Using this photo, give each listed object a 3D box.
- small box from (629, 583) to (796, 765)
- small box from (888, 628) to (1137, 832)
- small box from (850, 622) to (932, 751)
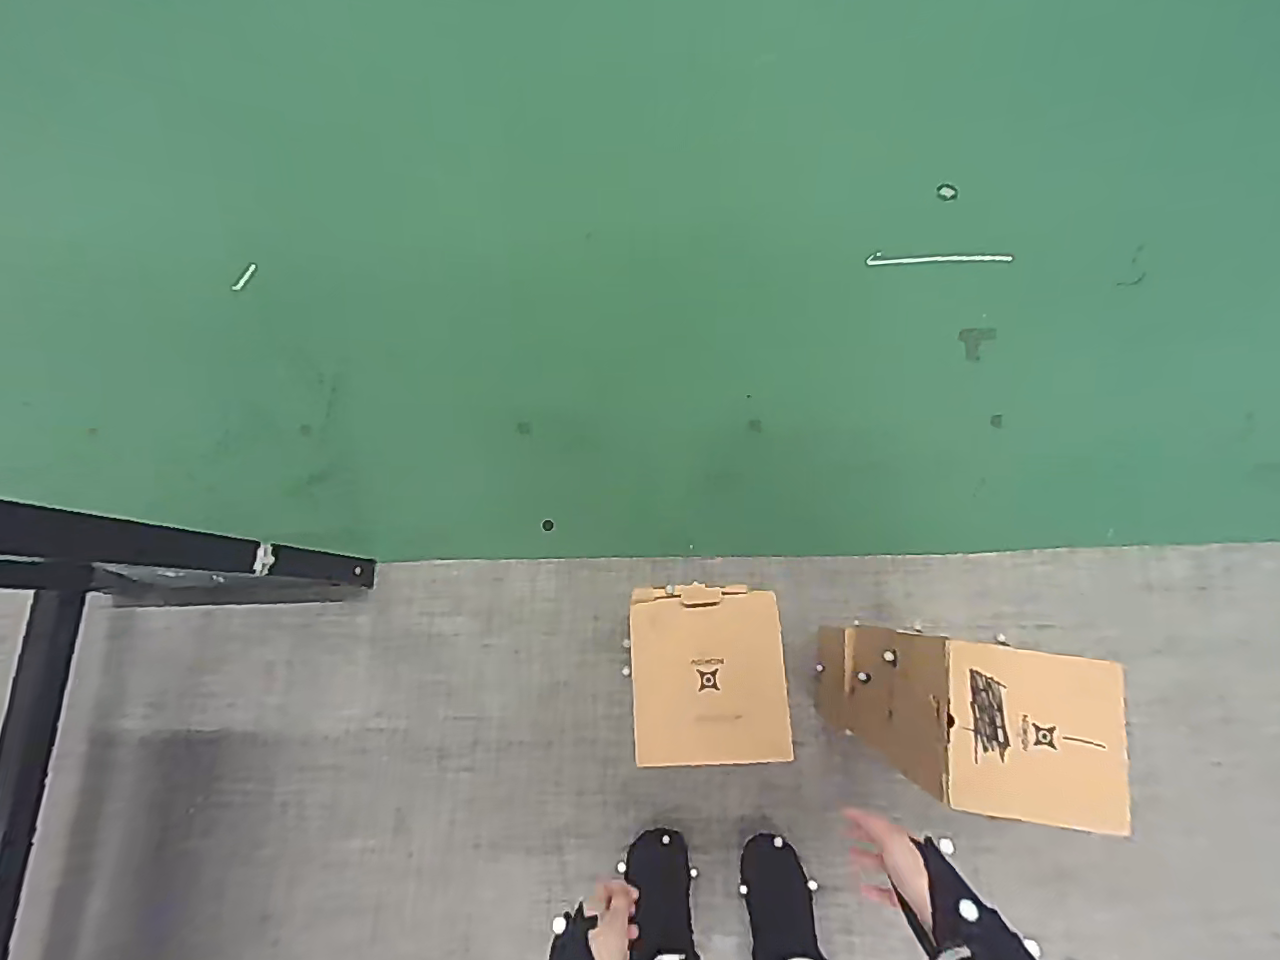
[{"bbox_3d":[0.078,0.221,0.647,0.168,0.176,0.179,-5,77,4],"label":"small box"},{"bbox_3d":[0.401,0.264,0.615,0.179,0.176,0.168,7,78,5],"label":"small box"},{"bbox_3d":[0.417,0.300,0.774,0.179,0.176,0.168,9,79,5],"label":"small box"}]
